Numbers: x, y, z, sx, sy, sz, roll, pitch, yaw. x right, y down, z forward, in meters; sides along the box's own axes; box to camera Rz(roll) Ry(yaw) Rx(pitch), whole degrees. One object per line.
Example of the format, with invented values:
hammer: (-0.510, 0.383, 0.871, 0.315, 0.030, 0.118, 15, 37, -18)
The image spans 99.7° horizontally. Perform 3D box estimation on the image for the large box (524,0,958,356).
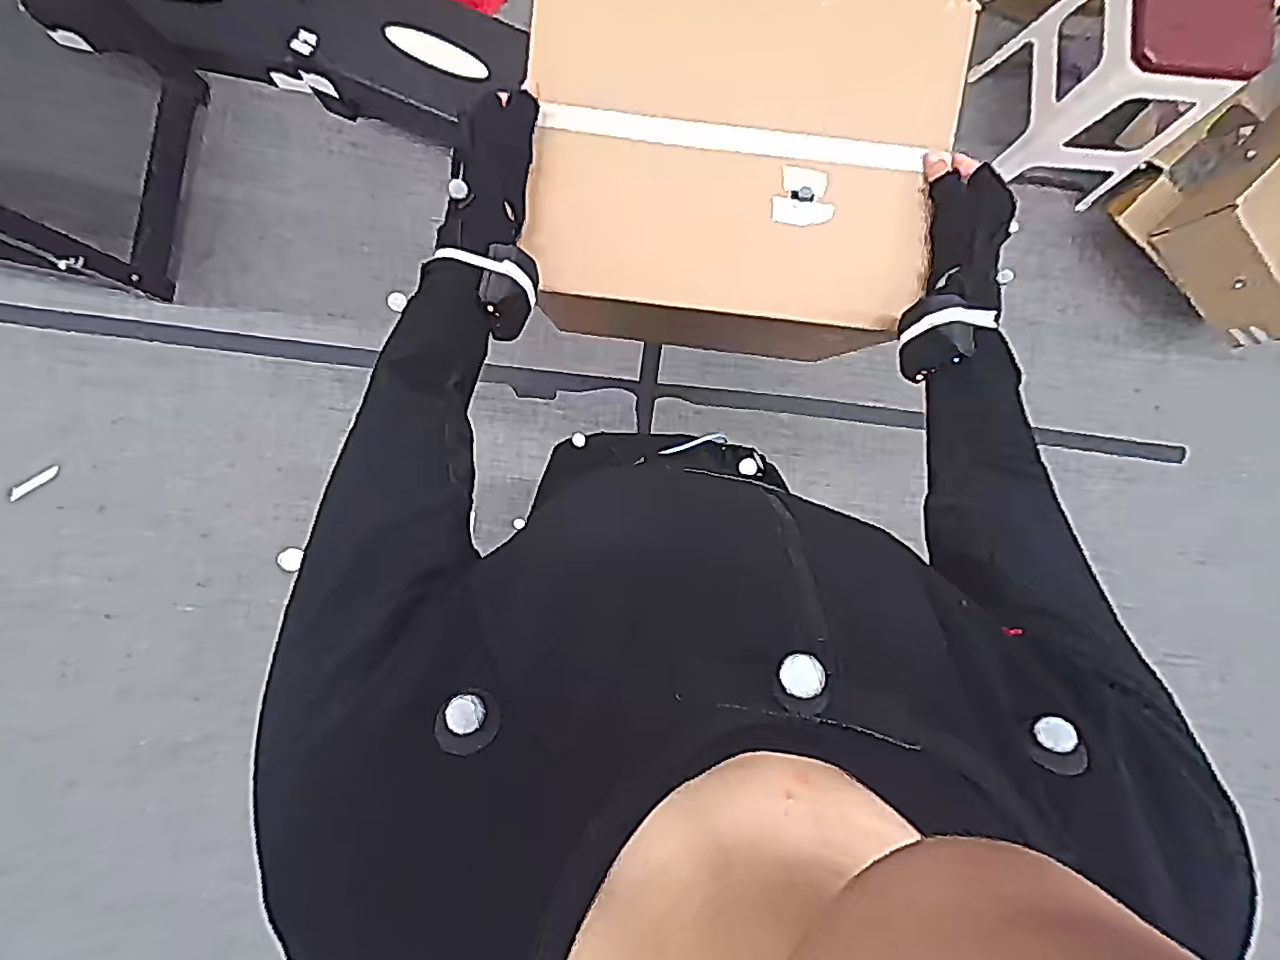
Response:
large box: (0.089, -0.343, 0.674, 0.408, 0.320, 0.320, 6, 98, -2)
